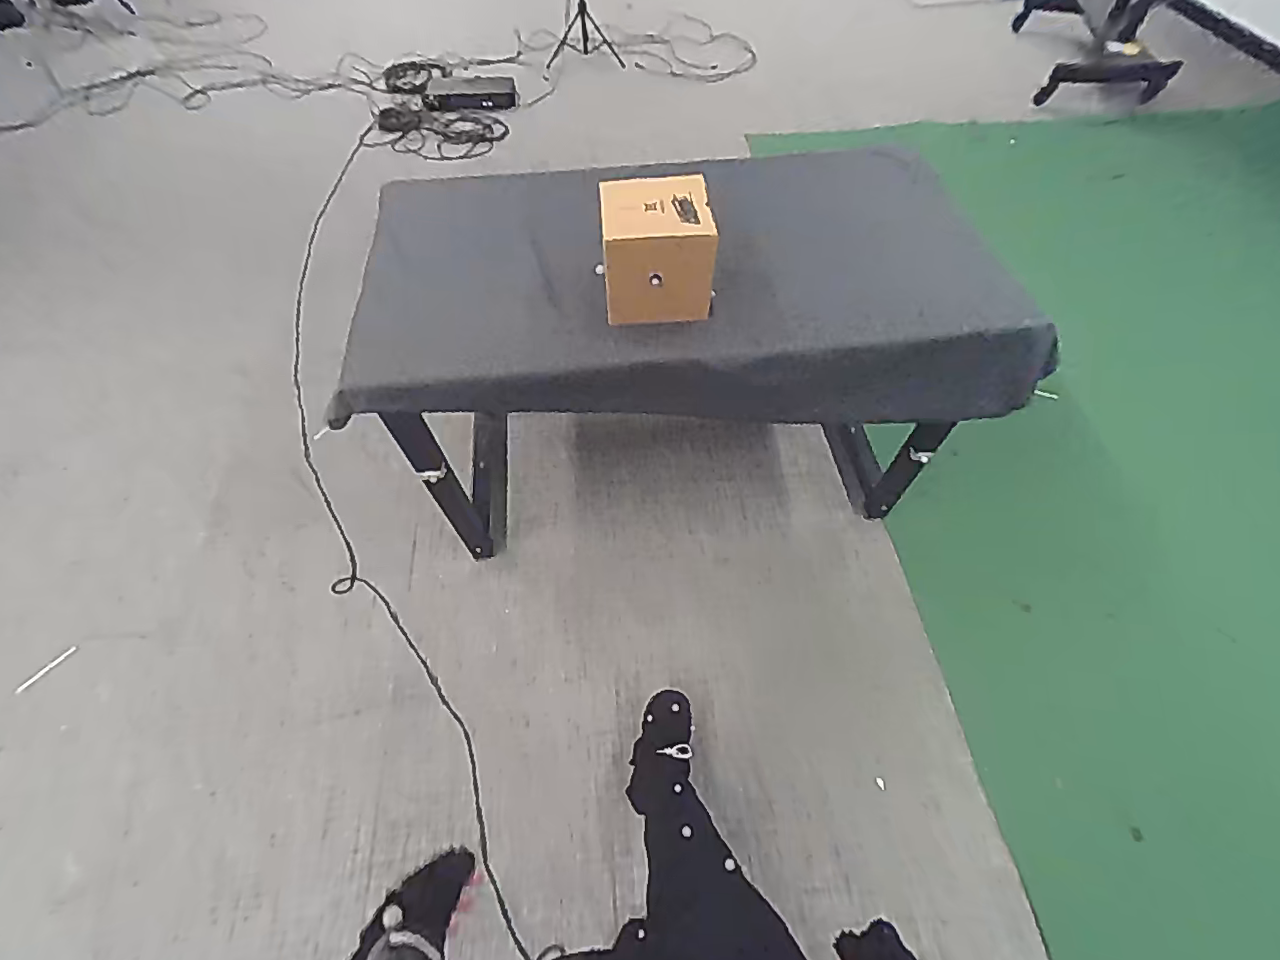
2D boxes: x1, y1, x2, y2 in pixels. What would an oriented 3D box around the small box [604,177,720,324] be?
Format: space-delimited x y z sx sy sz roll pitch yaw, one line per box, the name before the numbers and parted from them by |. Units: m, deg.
small box | 0.032 -0.387 0.926 0.179 0.176 0.168 -4 58 -1
